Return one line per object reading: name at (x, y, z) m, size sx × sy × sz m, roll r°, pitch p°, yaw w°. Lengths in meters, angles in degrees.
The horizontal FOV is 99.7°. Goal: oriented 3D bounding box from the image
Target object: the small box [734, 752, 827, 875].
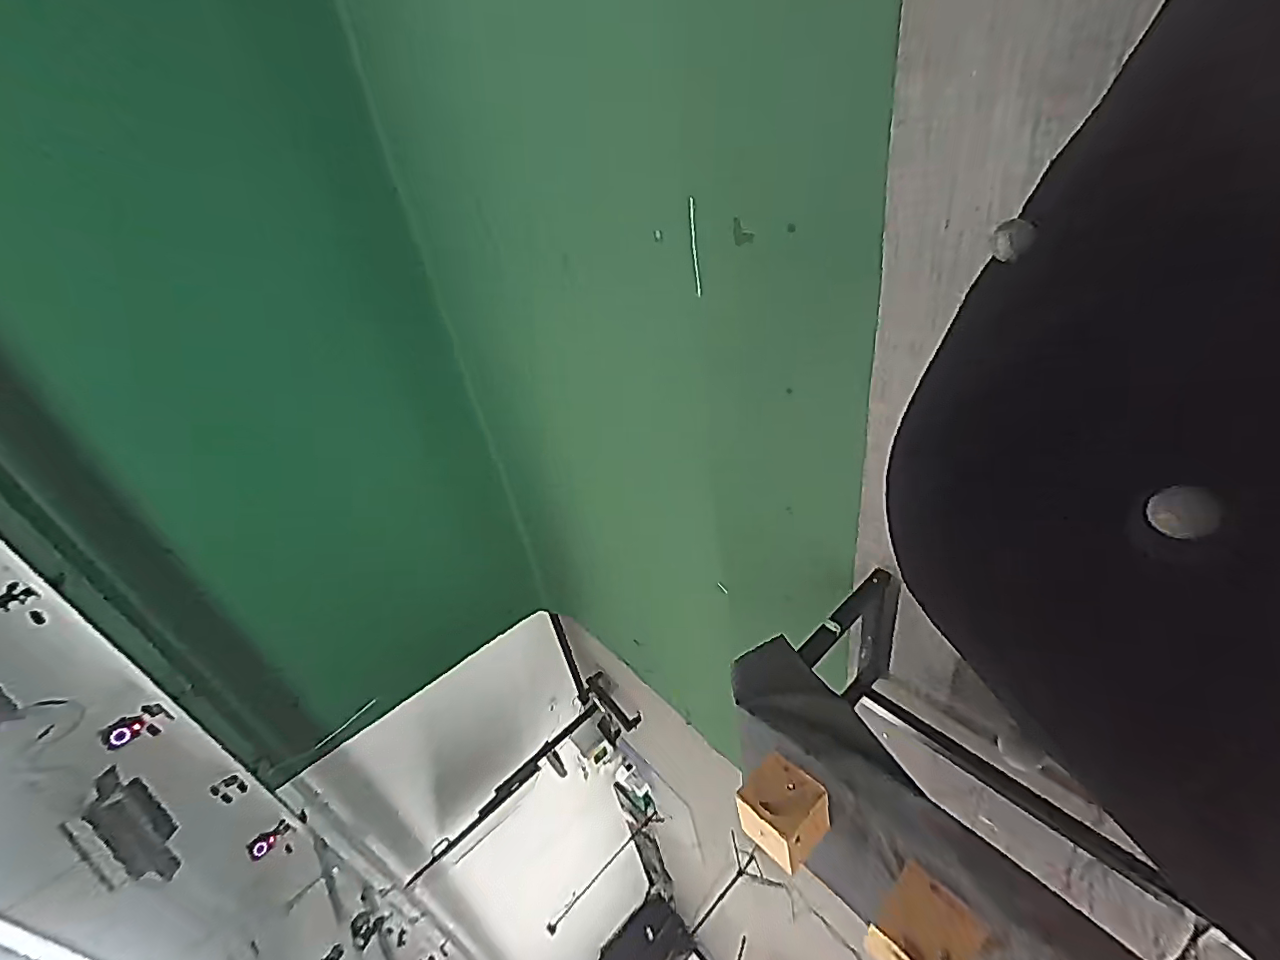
small box at (0.371, 0.861, 1.408) m, size 0.168 × 0.176 × 0.179 m, roll 22°, pitch 135°, yaw 47°
